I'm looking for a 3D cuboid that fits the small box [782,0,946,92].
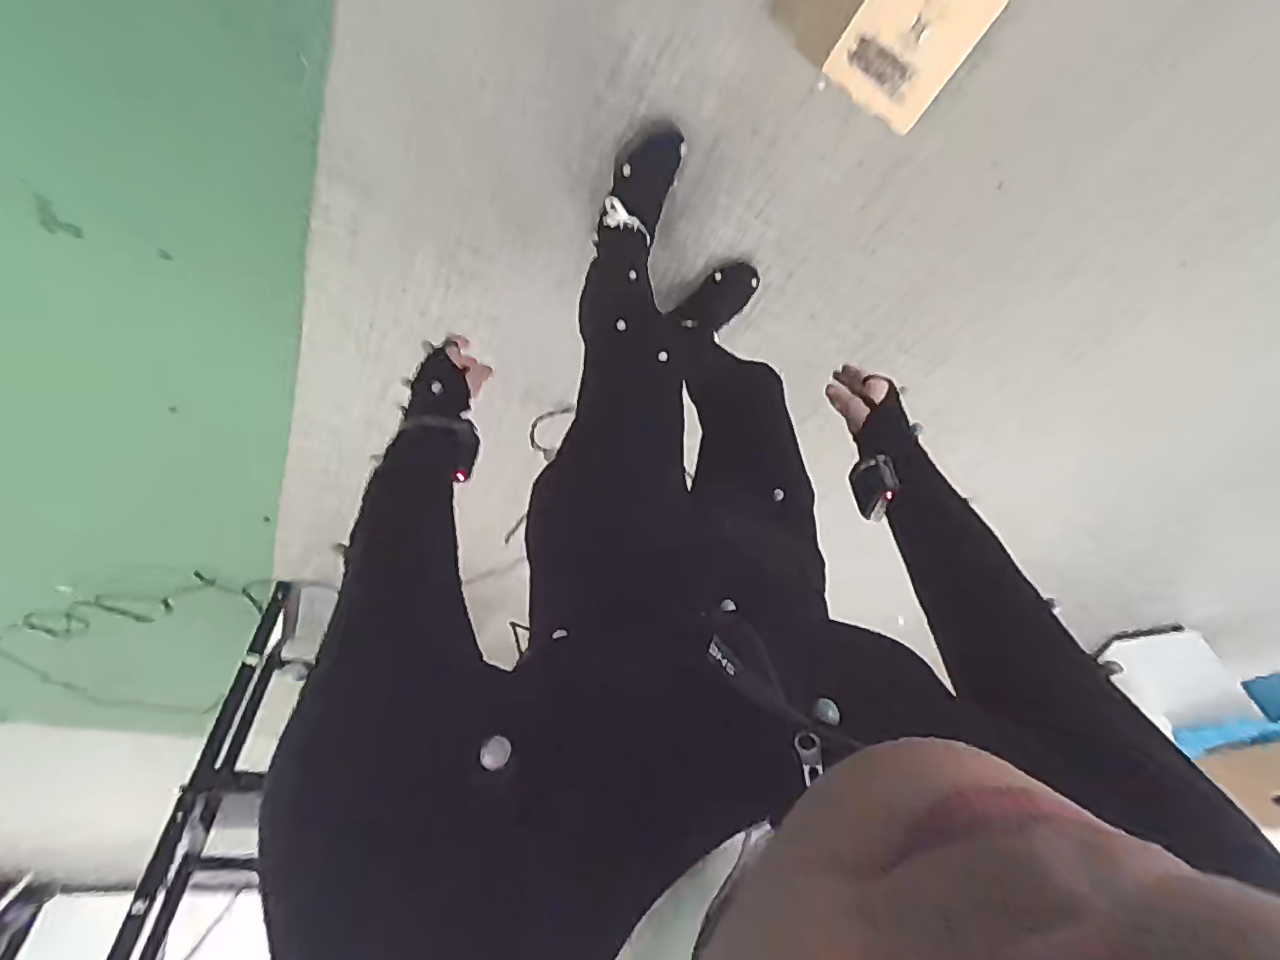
[{"bbox_3d":[0.352,-0.766,0.859,0.179,0.176,0.168,18,133,-22],"label":"small box"}]
